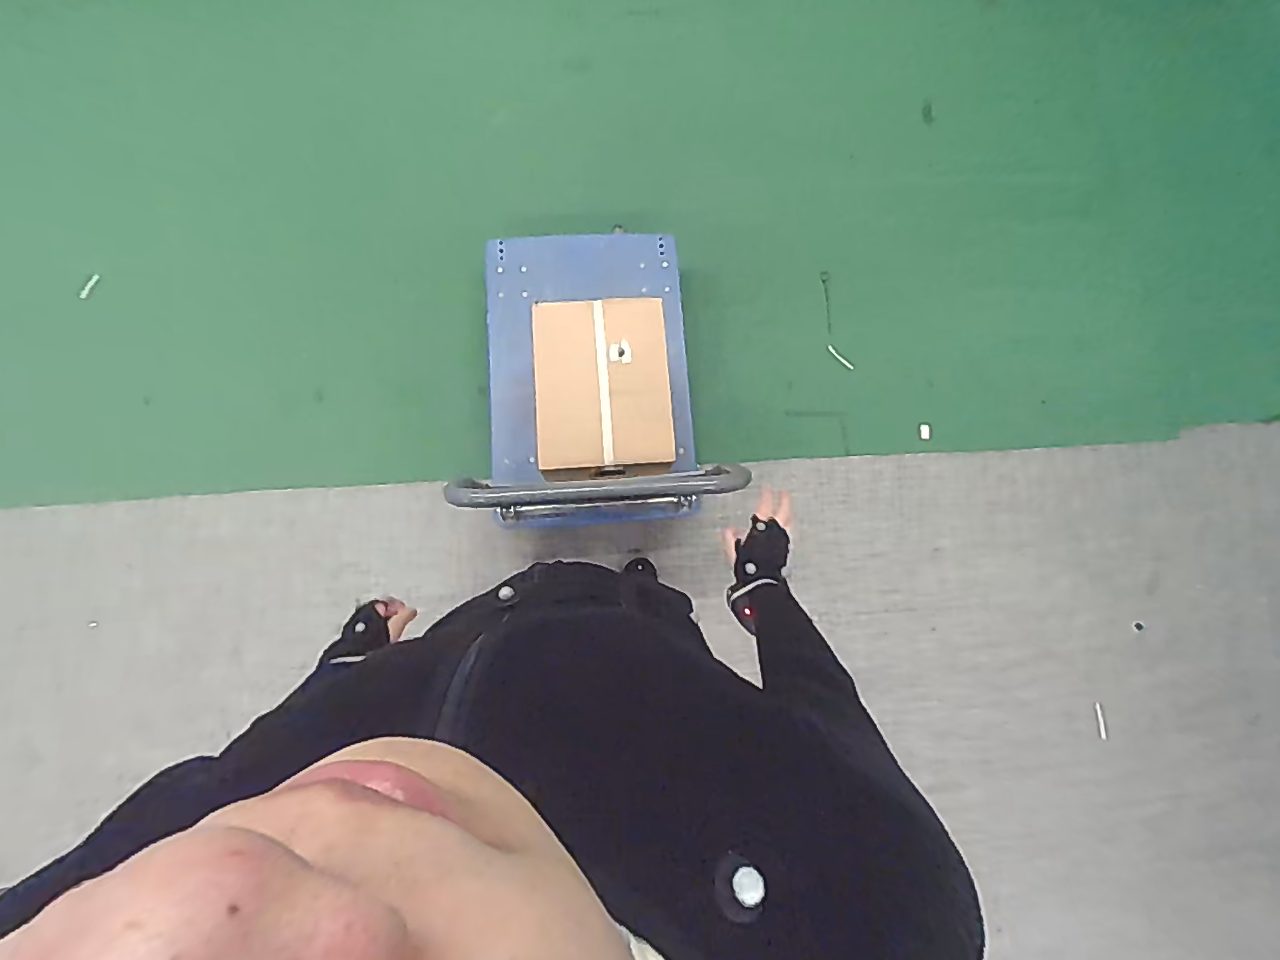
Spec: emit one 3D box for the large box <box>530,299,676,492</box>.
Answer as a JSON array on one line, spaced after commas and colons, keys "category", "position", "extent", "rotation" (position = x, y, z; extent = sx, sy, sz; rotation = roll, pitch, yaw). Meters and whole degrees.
[{"category": "large box", "position": [-0.098, -0.200, 1.395], "extent": [0.320, 0.320, 0.408], "rotation": [-4, 80, -5]}]
